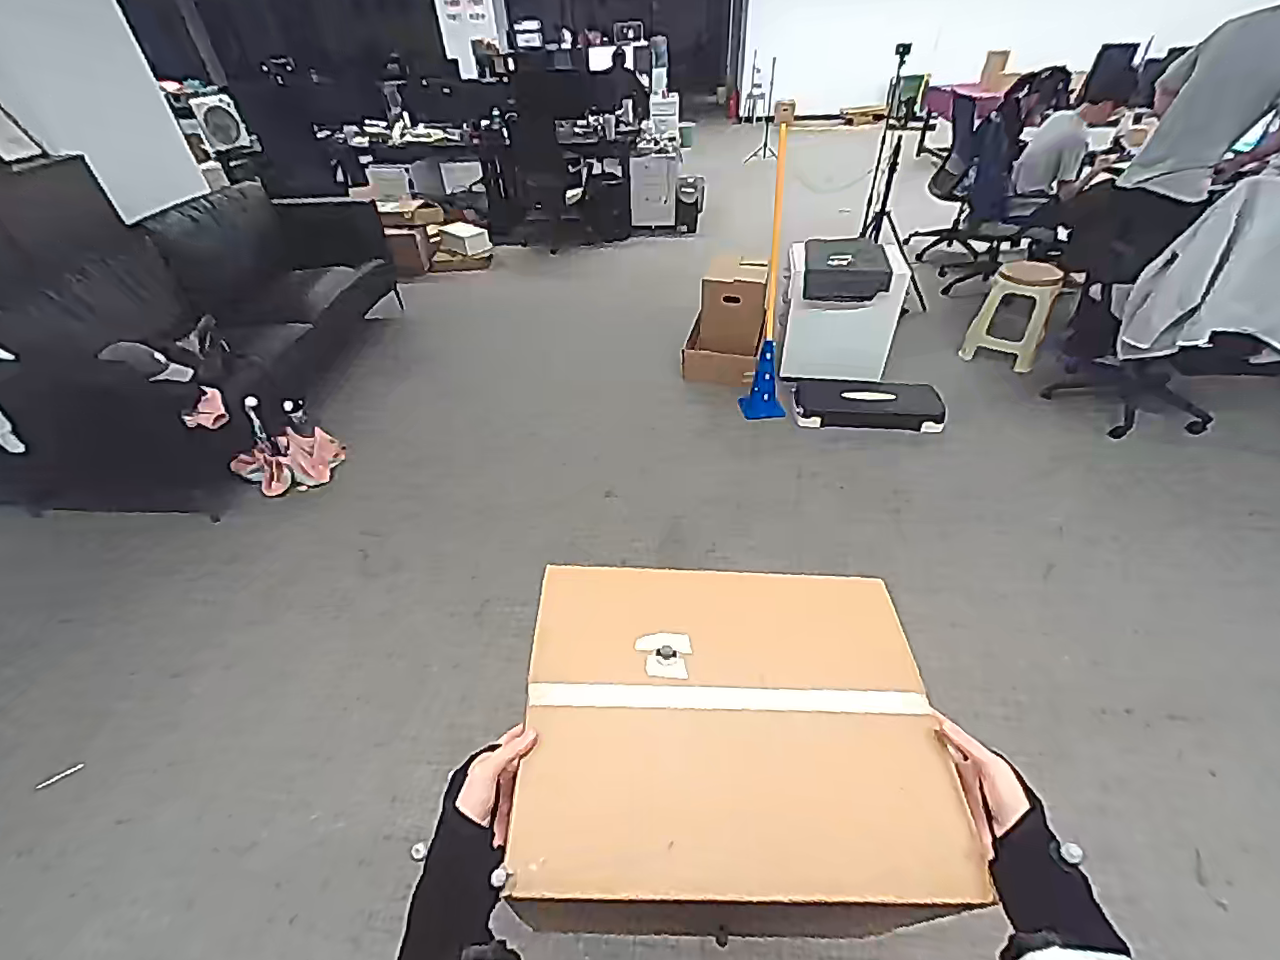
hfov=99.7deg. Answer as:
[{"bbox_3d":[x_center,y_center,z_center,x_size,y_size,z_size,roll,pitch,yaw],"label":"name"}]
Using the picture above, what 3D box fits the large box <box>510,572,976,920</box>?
[{"bbox_3d":[0.083,0.326,0.658,0.408,0.320,0.320,2,46,-2],"label":"large box"}]
